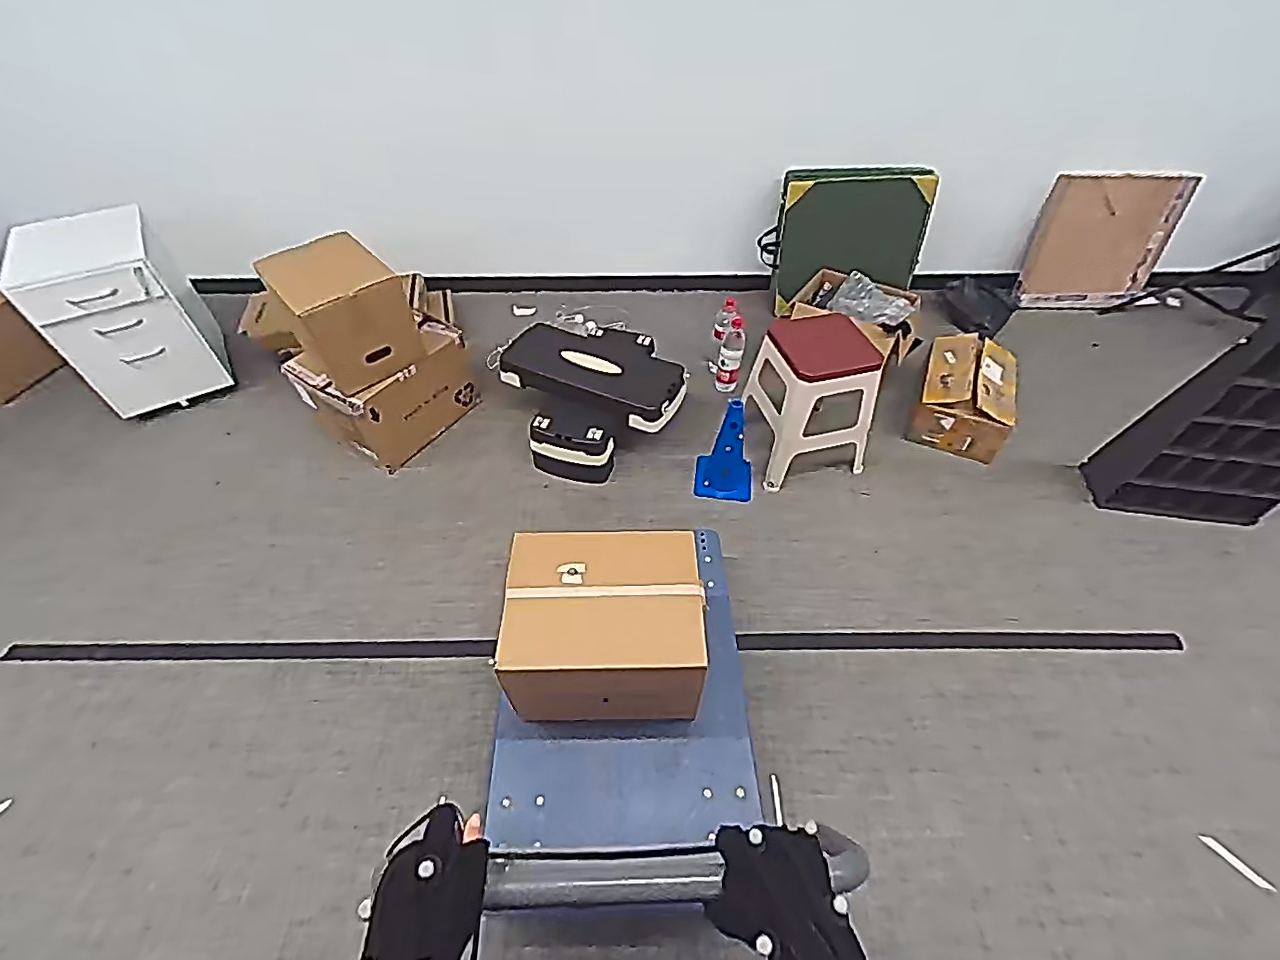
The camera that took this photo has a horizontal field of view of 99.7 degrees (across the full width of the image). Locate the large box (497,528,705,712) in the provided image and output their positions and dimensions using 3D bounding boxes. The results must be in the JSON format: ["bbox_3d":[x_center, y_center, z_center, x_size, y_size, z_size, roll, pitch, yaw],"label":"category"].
[{"bbox_3d":[-0.075,0.325,1.232,0.408,0.320,0.320,-1,50,0],"label":"large box"}]
